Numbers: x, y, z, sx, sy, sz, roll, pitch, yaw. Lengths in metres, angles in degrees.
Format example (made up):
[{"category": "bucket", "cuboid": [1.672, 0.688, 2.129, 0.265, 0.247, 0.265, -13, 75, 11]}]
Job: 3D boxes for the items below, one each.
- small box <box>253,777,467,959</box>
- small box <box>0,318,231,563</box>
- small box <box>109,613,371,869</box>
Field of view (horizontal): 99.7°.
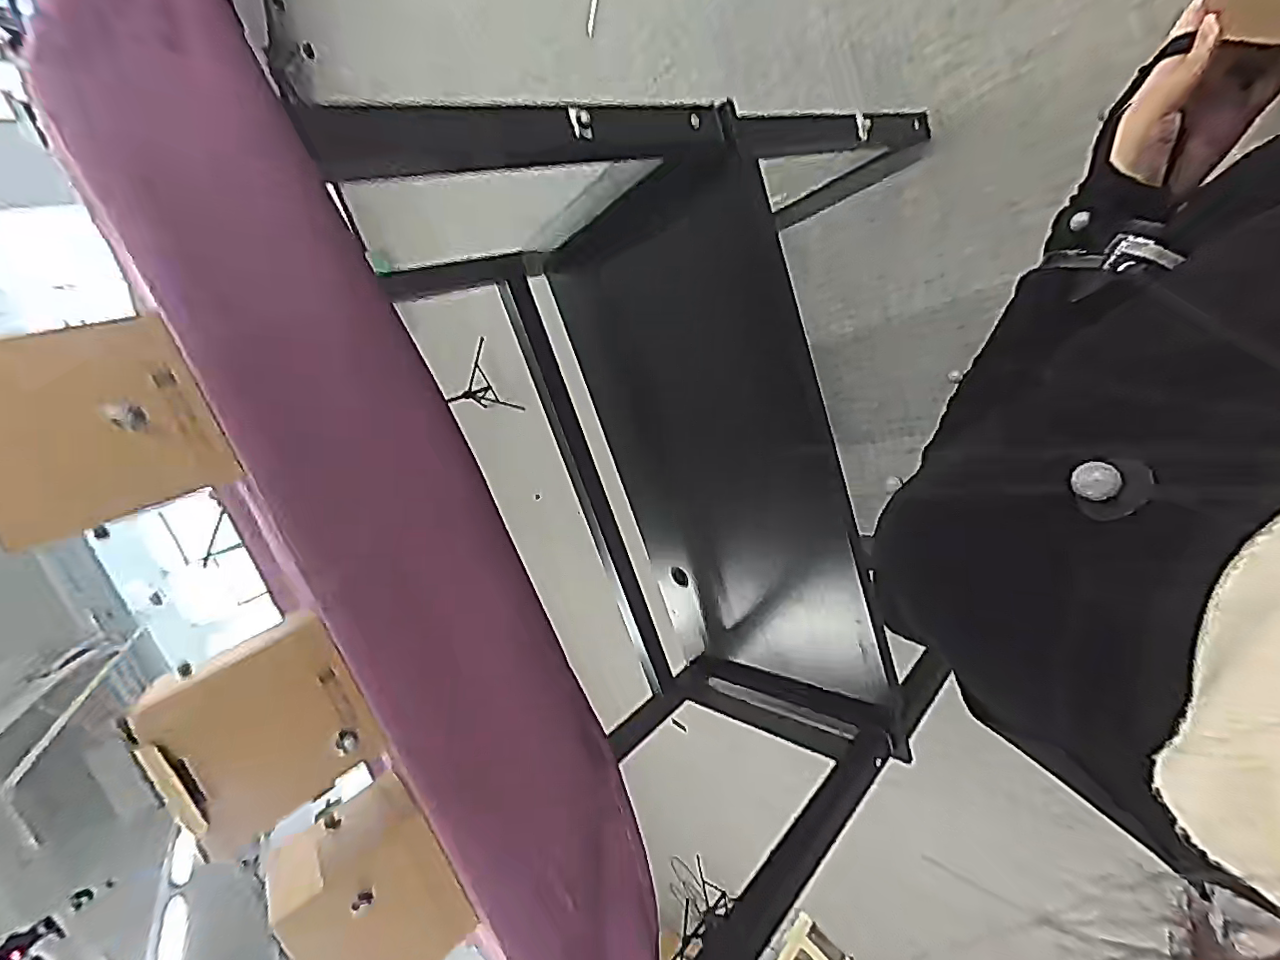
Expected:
[{"category": "small box", "cuboid": [-0.345, 0.515, 0.671, 0.168, 0.176, 0.179, -9, 106, 54]}, {"category": "small box", "cuboid": [-0.523, -0.042, 0.515, 0.179, 0.176, 0.168, 2, 115, 51]}, {"category": "small box", "cuboid": [-0.423, 0.264, 0.599, 0.179, 0.176, 0.168, -11, 104, 55]}]
